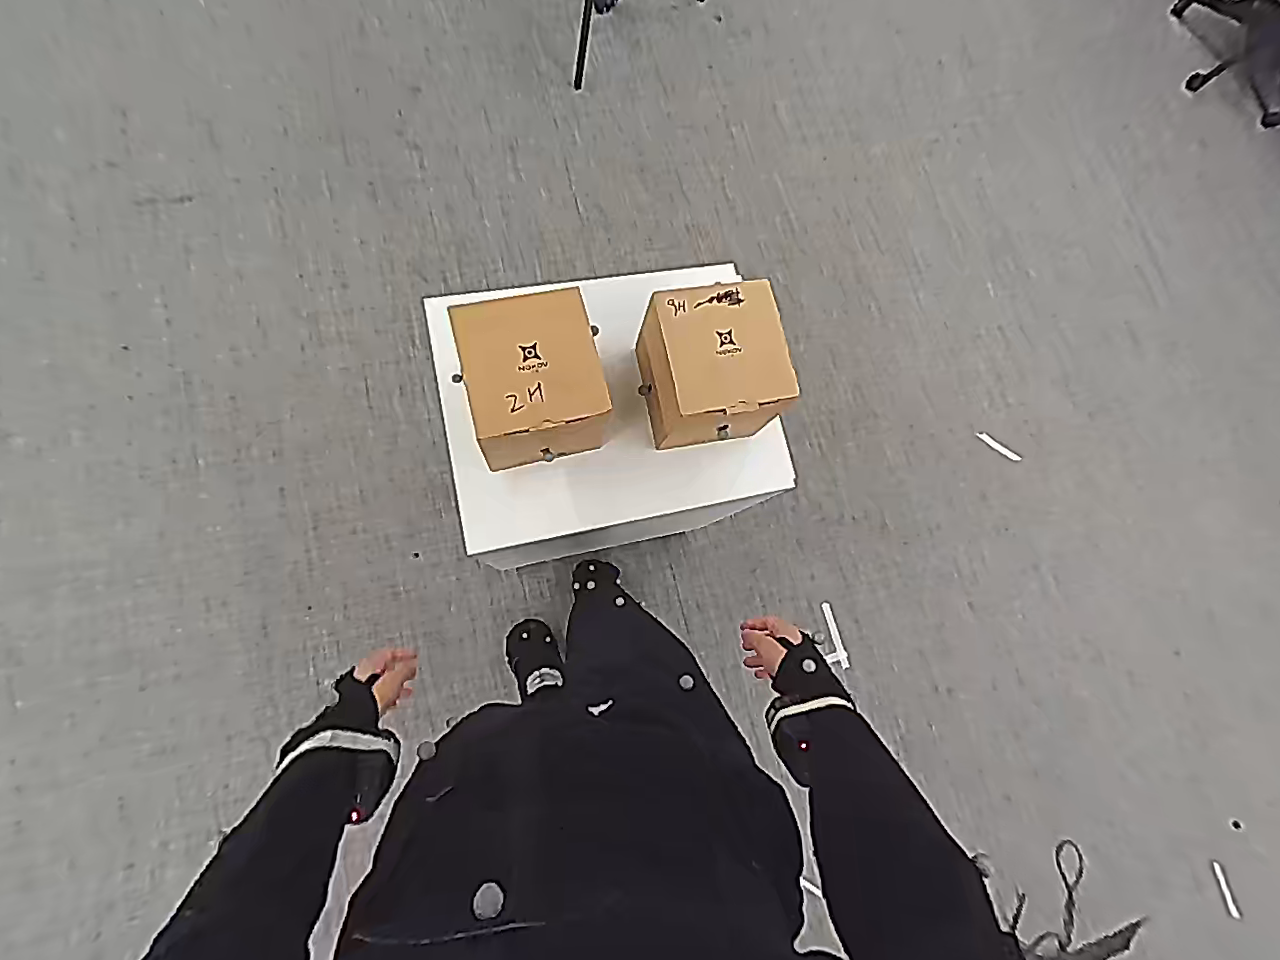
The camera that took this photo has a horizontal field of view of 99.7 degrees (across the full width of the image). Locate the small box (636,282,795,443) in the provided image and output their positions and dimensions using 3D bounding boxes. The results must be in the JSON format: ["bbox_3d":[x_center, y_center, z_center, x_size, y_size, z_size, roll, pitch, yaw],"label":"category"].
[{"bbox_3d":[0.098,-0.158,0.780,0.168,0.176,0.179,-9,81,-11],"label":"small box"}]

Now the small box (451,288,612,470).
[{"bbox_3d":[-0.145,-0.128,0.732,0.168,0.176,0.179,-14,81,-12],"label":"small box"}]
